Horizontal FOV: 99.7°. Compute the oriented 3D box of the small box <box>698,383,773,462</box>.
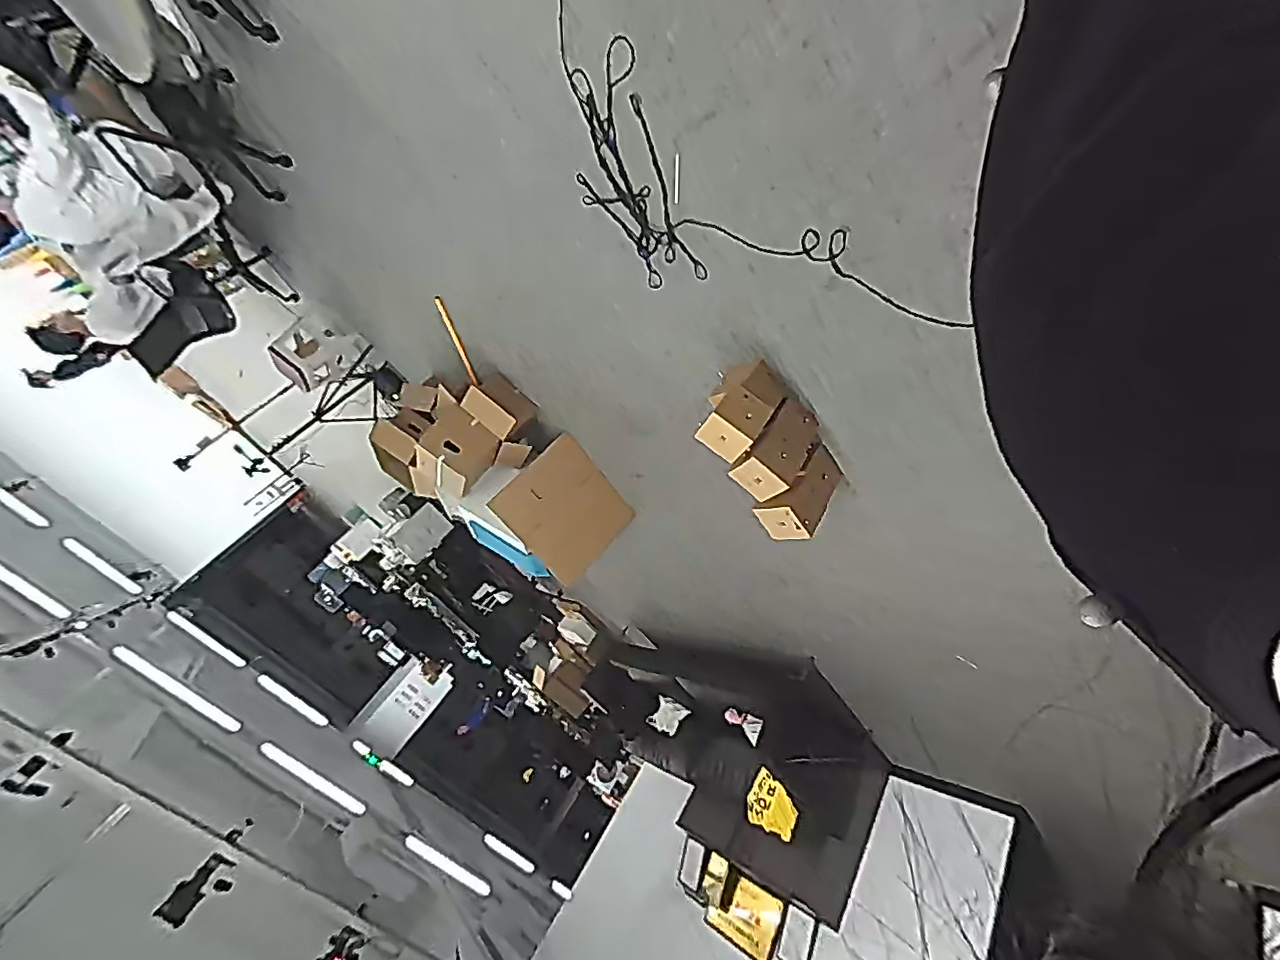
[{"bbox_3d":[0.330,-0.198,1.843,0.168,0.176,0.179,37,152,2],"label":"small box"}]

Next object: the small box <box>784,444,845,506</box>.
[{"bbox_3d":[0.654,-0.022,2.078,0.179,0.176,0.168,48,150,-20],"label":"small box"}]

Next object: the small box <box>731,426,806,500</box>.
[{"bbox_3d":[0.459,-0.061,1.901,0.168,0.176,0.179,40,152,-5],"label":"small box"}]
